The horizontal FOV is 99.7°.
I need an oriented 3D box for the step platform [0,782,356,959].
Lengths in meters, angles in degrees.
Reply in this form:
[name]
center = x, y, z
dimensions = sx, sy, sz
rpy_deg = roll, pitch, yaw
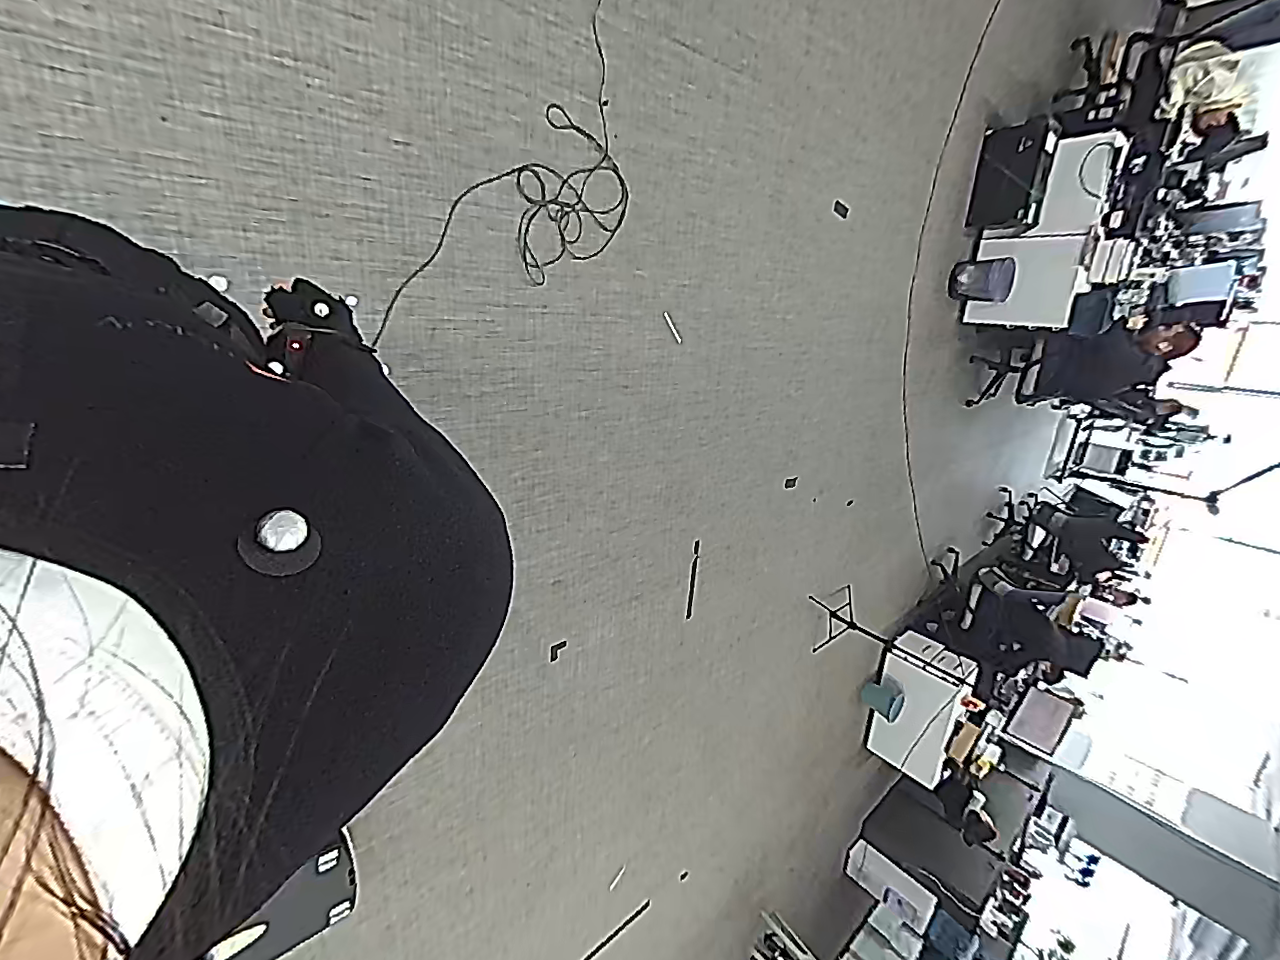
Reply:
[step platform]
center = -1.092, 1.078, 1.342
dimensions = 0.684, 0.204, 0.286
rpy_deg = -14, 114, -38
